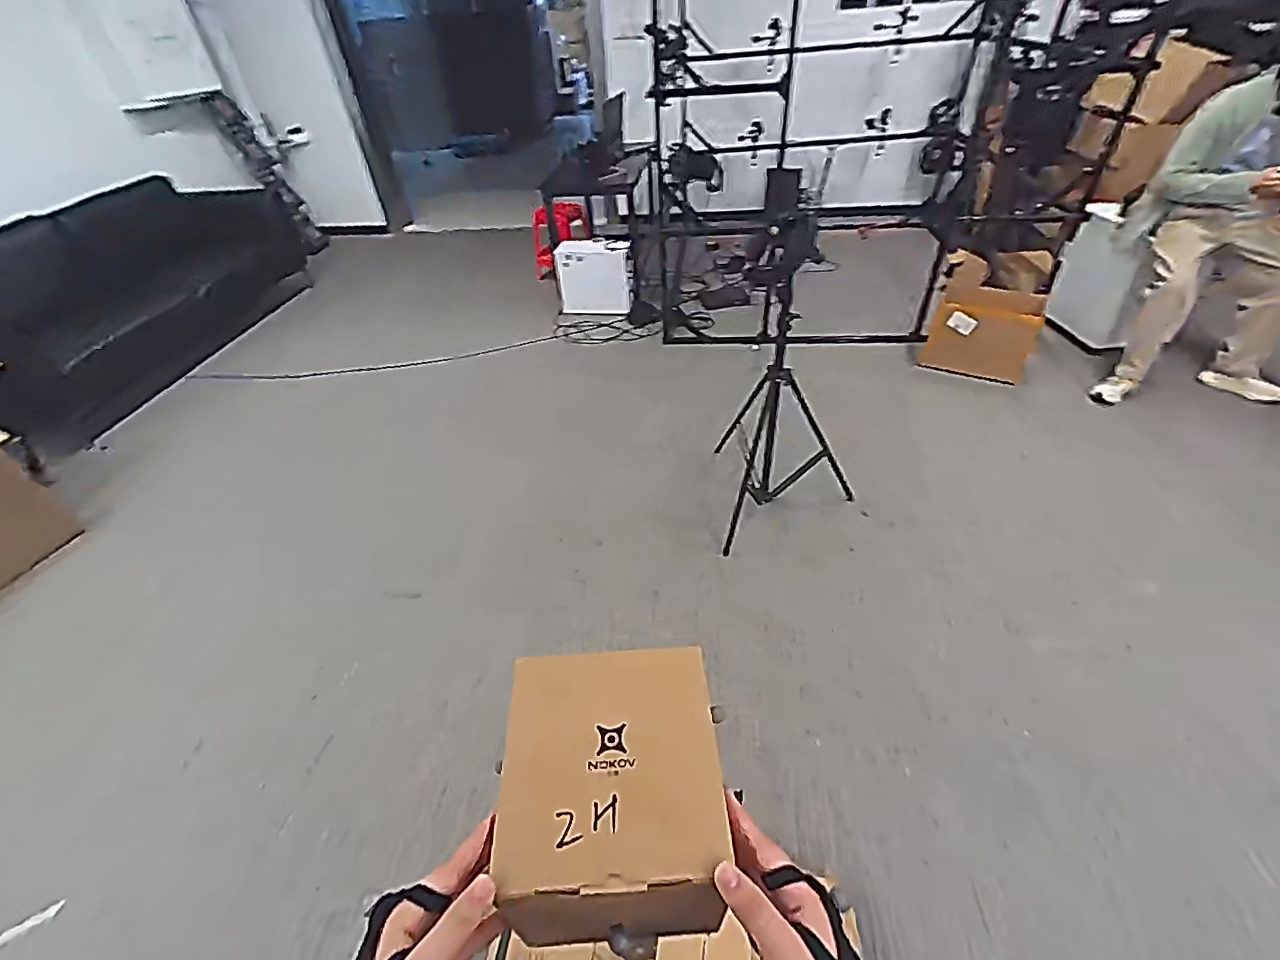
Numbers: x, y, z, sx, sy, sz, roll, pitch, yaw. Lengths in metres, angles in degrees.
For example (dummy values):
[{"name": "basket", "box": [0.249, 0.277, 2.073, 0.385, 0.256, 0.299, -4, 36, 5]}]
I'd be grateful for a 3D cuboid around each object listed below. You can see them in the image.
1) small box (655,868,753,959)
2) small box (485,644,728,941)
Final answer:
[{"name": "small box", "box": [0.124, 0.861, 1.033, 0.168, 0.176, 0.179, 4, 42, 10]}, {"name": "small box", "box": [-0.026, 0.269, 0.473, 0.168, 0.176, 0.179, -4, 41, -2]}]
